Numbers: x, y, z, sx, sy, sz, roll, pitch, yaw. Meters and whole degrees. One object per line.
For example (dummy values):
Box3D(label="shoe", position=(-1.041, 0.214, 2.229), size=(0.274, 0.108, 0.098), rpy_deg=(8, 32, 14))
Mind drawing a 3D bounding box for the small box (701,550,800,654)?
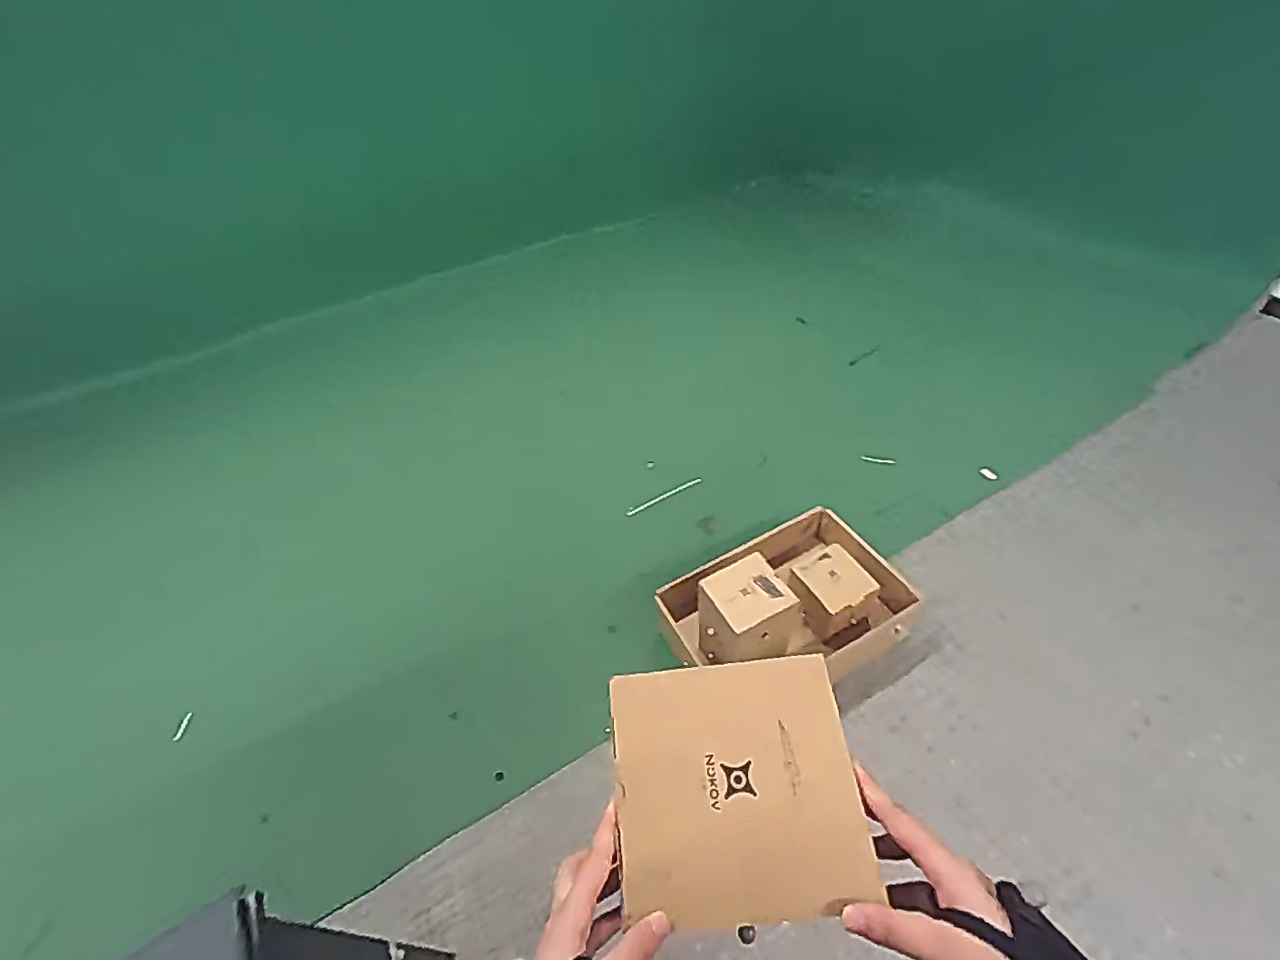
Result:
Box3D(label="small box", position=(0.260, 0.310, 1.322), size=(0.179, 0.176, 0.168), rpy_deg=(-24, 48, -16))

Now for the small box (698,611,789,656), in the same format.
Box3D(label="small box", position=(0.270, 0.422, 1.442), size=(0.179, 0.176, 0.168), rpy_deg=(-23, 49, -17))

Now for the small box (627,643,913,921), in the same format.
Box3D(label="small box", position=(0.089, 0.248, 0.452), size=(0.179, 0.176, 0.168), rpy_deg=(-7, 58, 1))
